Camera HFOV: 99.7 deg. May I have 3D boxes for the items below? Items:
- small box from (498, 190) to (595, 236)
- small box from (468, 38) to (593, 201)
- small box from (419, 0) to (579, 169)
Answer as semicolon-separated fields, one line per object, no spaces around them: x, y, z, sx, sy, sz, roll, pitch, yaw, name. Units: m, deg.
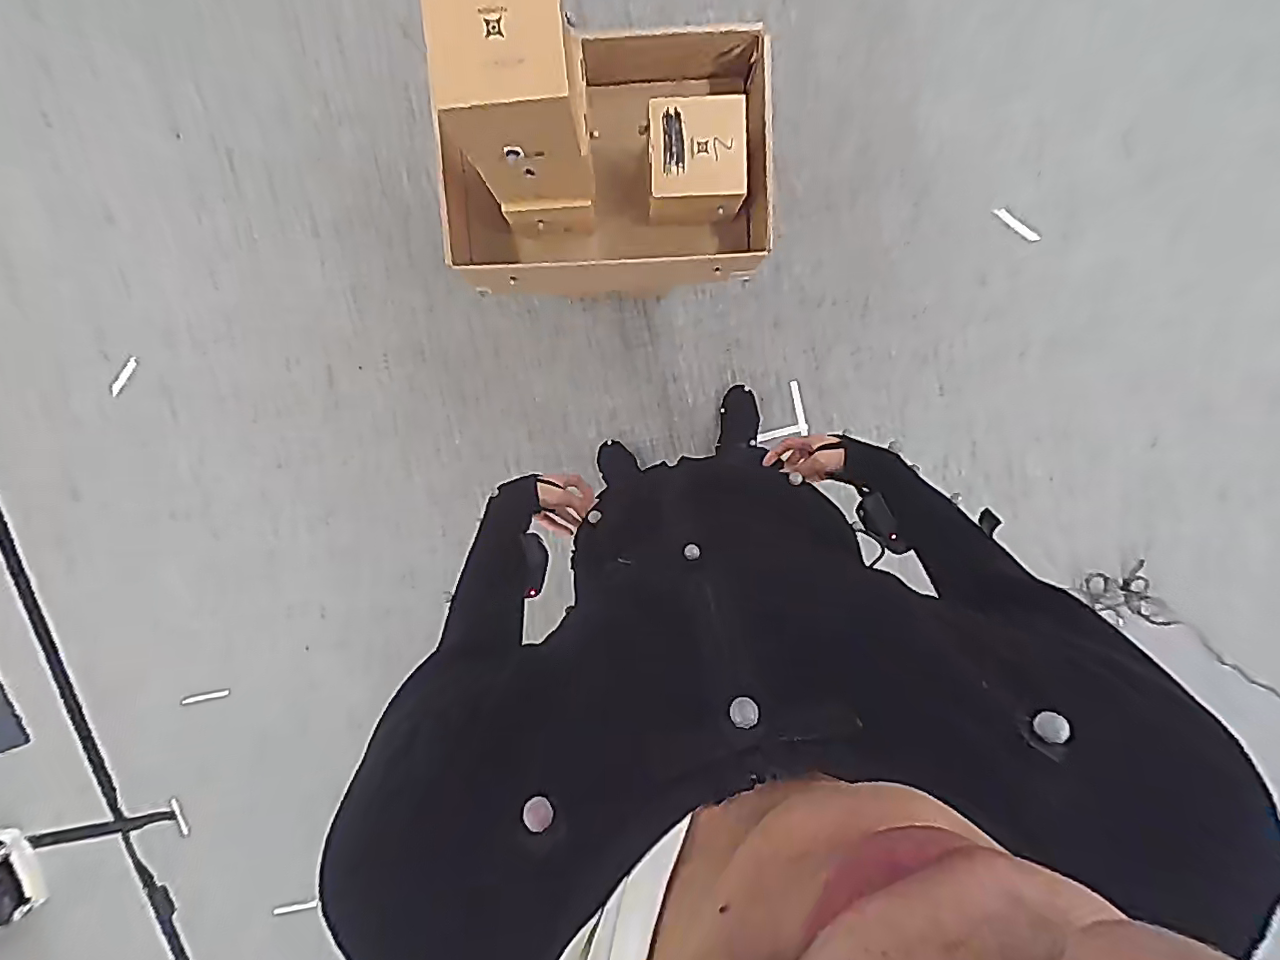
-0.179;-0.581;1.037;0.168;0.176;0.179;-5;97;-1;small box
-0.172;-0.566;0.872;0.179;0.176;0.168;-3;98;-1;small box
-0.175;-0.543;0.710;0.168;0.176;0.179;-5;97;1;small box
